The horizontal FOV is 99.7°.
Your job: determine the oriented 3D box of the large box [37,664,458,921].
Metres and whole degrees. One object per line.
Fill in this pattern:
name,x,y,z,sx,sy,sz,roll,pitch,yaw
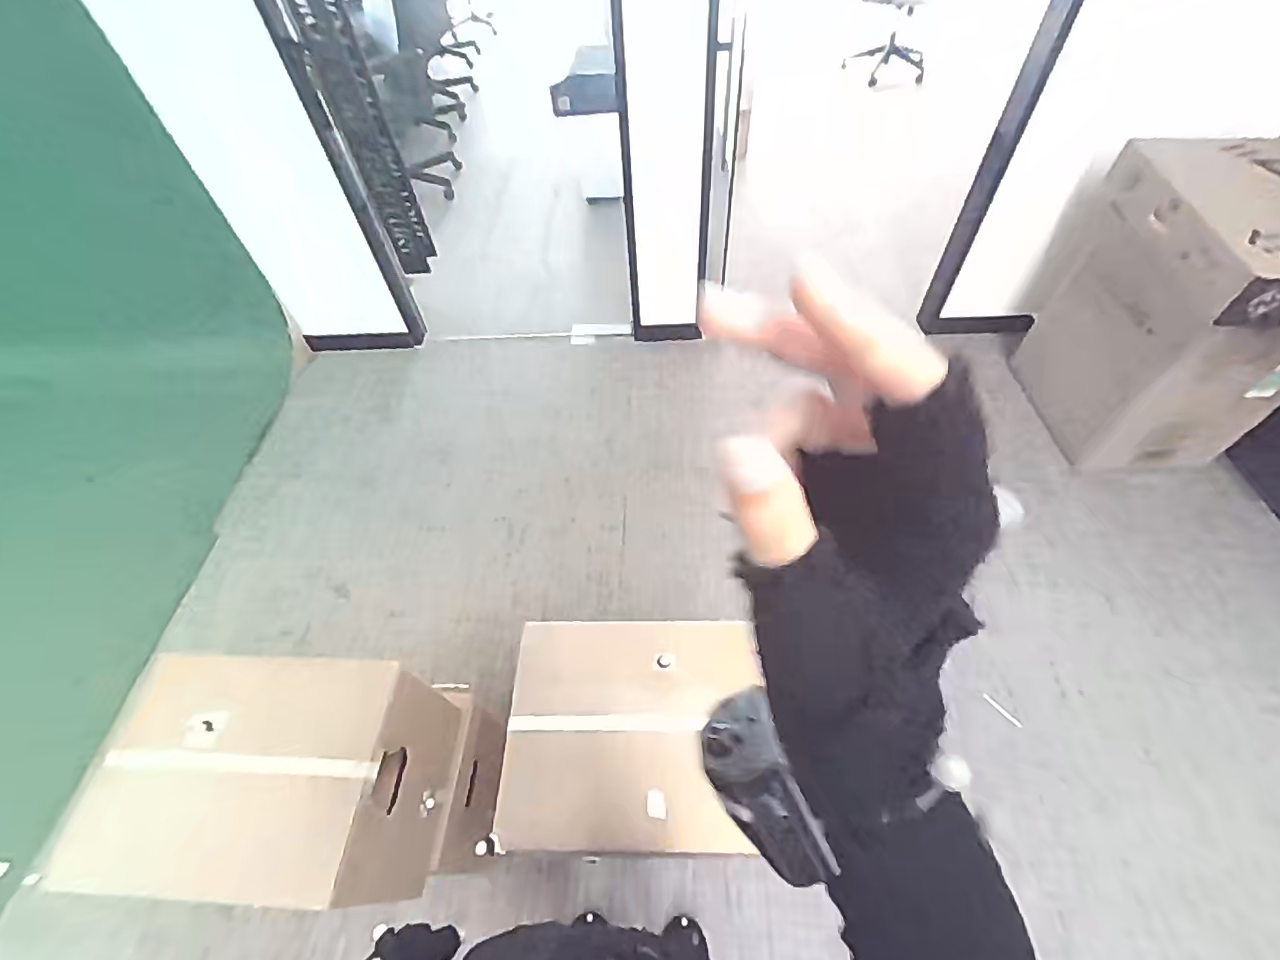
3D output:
large box,-0.570,0.507,0.893,0.408,0.320,0.320,1,54,5
